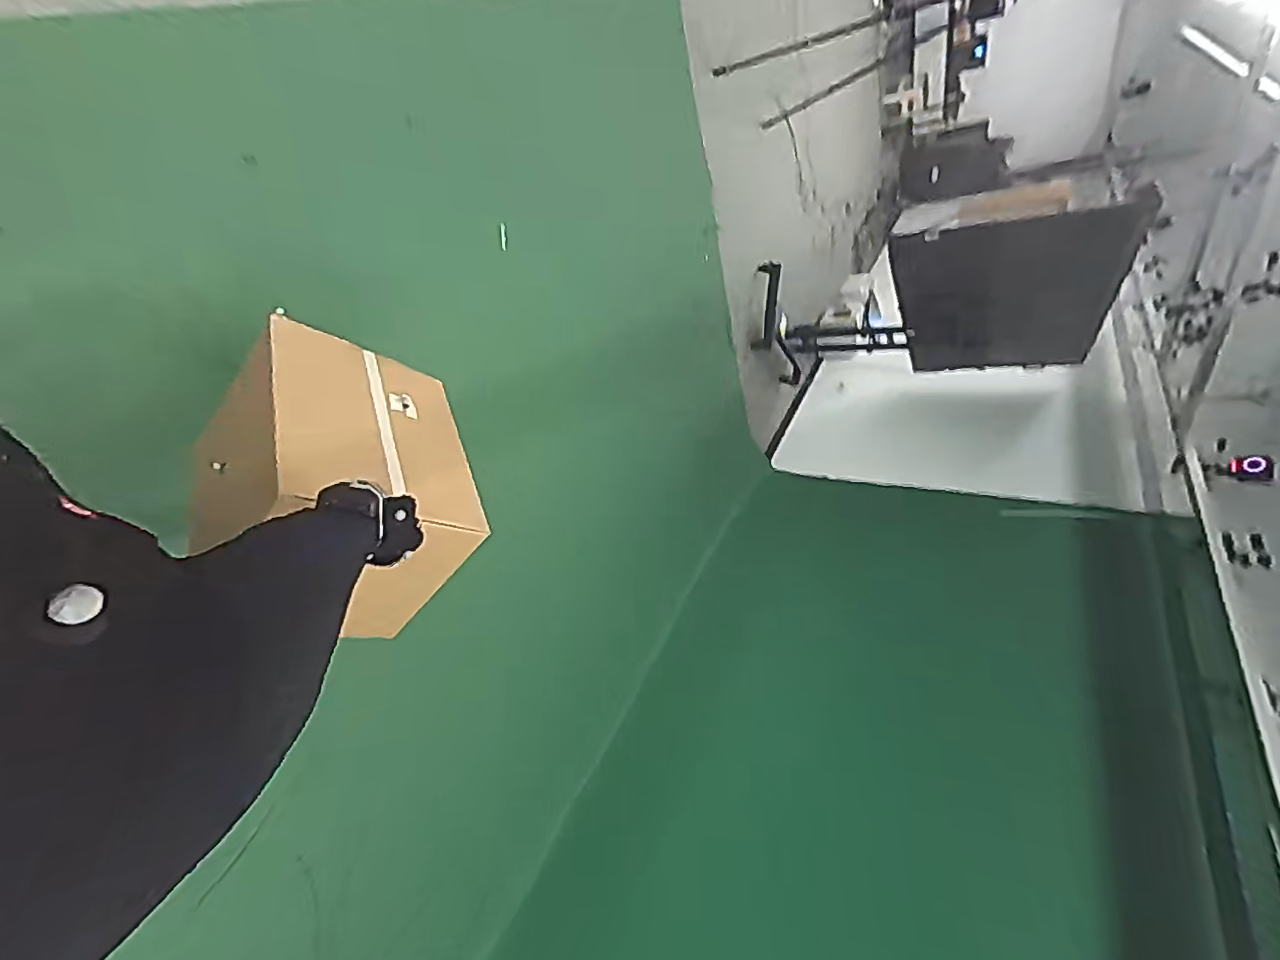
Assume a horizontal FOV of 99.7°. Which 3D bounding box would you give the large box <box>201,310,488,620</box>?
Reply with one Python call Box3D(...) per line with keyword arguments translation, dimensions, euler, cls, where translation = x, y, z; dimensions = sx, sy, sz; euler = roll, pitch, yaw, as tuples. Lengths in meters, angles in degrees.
Box3D(translation=(-0.527, -0.007, 0.945), dimensions=(0.320, 0.408, 0.320), euler=(-44, 144, 20), cls="large box")
